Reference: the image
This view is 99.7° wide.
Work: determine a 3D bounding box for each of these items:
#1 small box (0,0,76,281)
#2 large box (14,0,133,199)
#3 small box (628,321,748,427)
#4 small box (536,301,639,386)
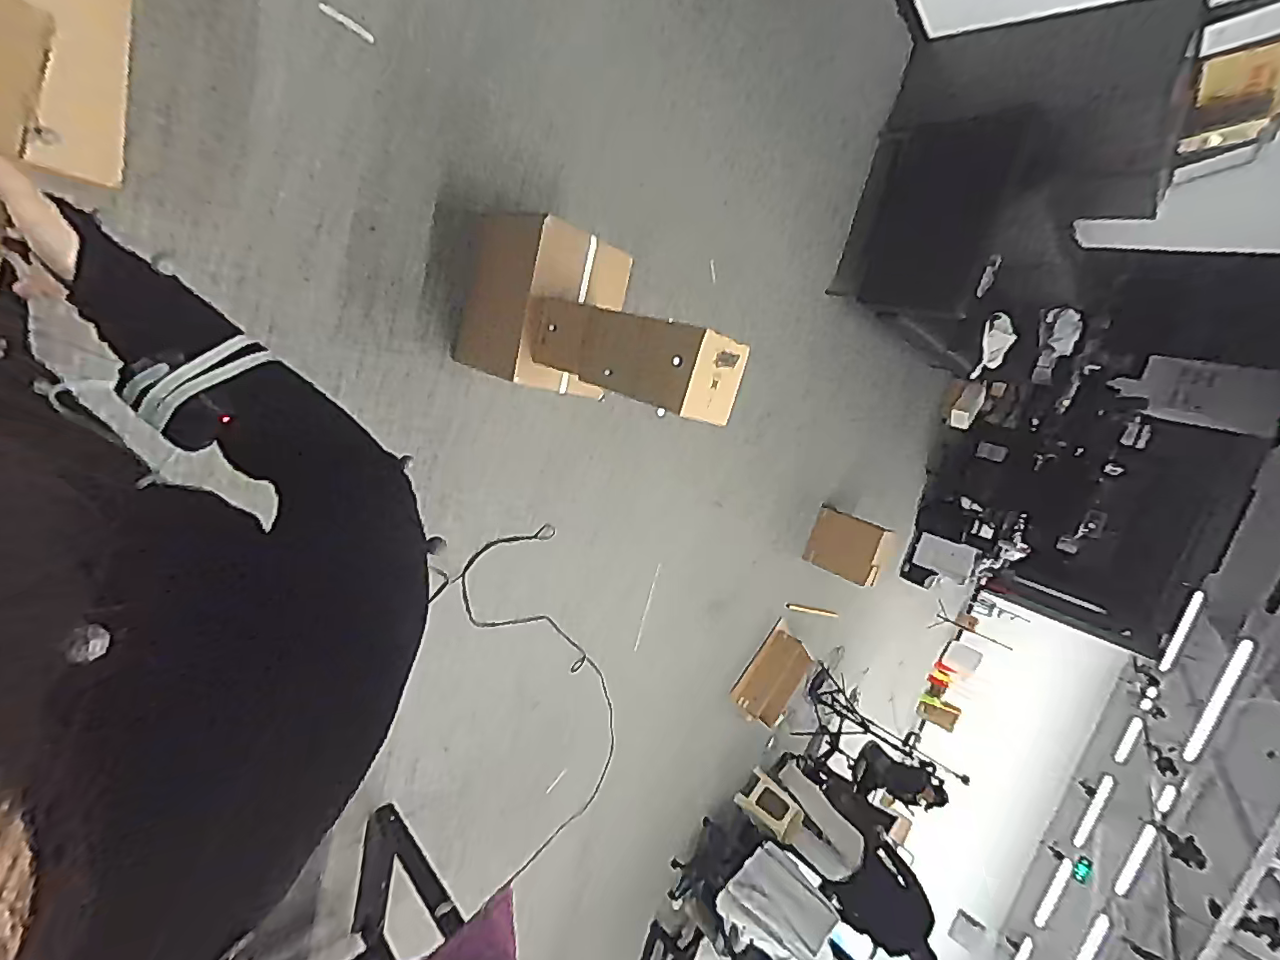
[{"bbox_3d":[-0.539,-0.256,0.369,0.179,0.176,0.168,15,63,-51],"label":"small box"},{"bbox_3d":[-0.909,-0.648,0.728,0.320,0.320,0.408,2,106,-48],"label":"large box"},{"bbox_3d":[0.098,-0.229,1.161,0.168,0.176,0.179,4,107,-48],"label":"small box"},{"bbox_3d":[-0.134,-0.345,1.364,0.179,0.176,0.168,0,109,-47],"label":"small box"}]
